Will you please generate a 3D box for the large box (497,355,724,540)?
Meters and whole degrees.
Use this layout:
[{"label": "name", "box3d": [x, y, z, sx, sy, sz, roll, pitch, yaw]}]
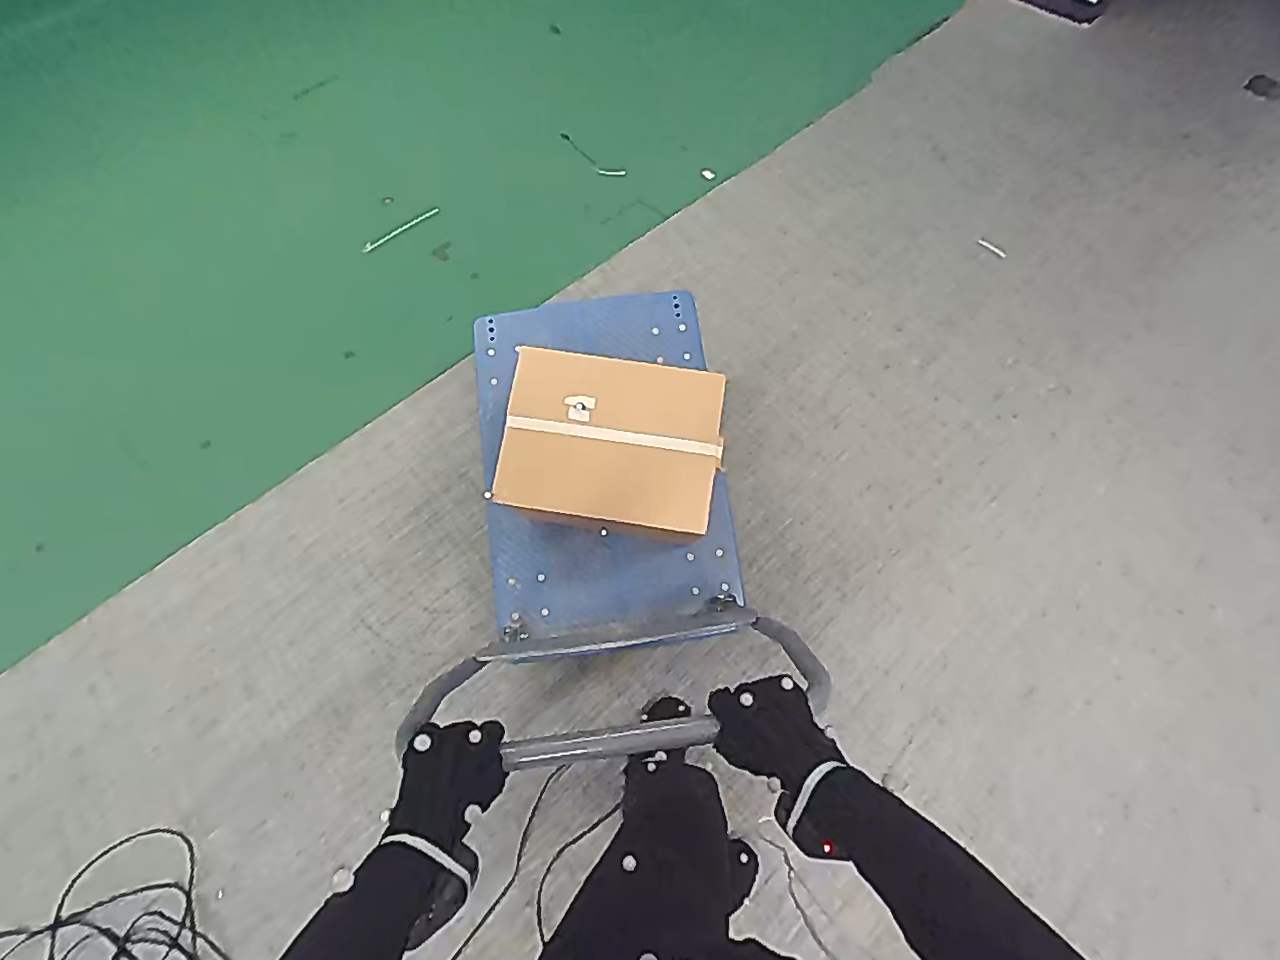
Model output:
[{"label": "large box", "box3d": [-0.045, -0.049, 1.162, 0.408, 0.320, 0.320, 7, 80, 4]}]
